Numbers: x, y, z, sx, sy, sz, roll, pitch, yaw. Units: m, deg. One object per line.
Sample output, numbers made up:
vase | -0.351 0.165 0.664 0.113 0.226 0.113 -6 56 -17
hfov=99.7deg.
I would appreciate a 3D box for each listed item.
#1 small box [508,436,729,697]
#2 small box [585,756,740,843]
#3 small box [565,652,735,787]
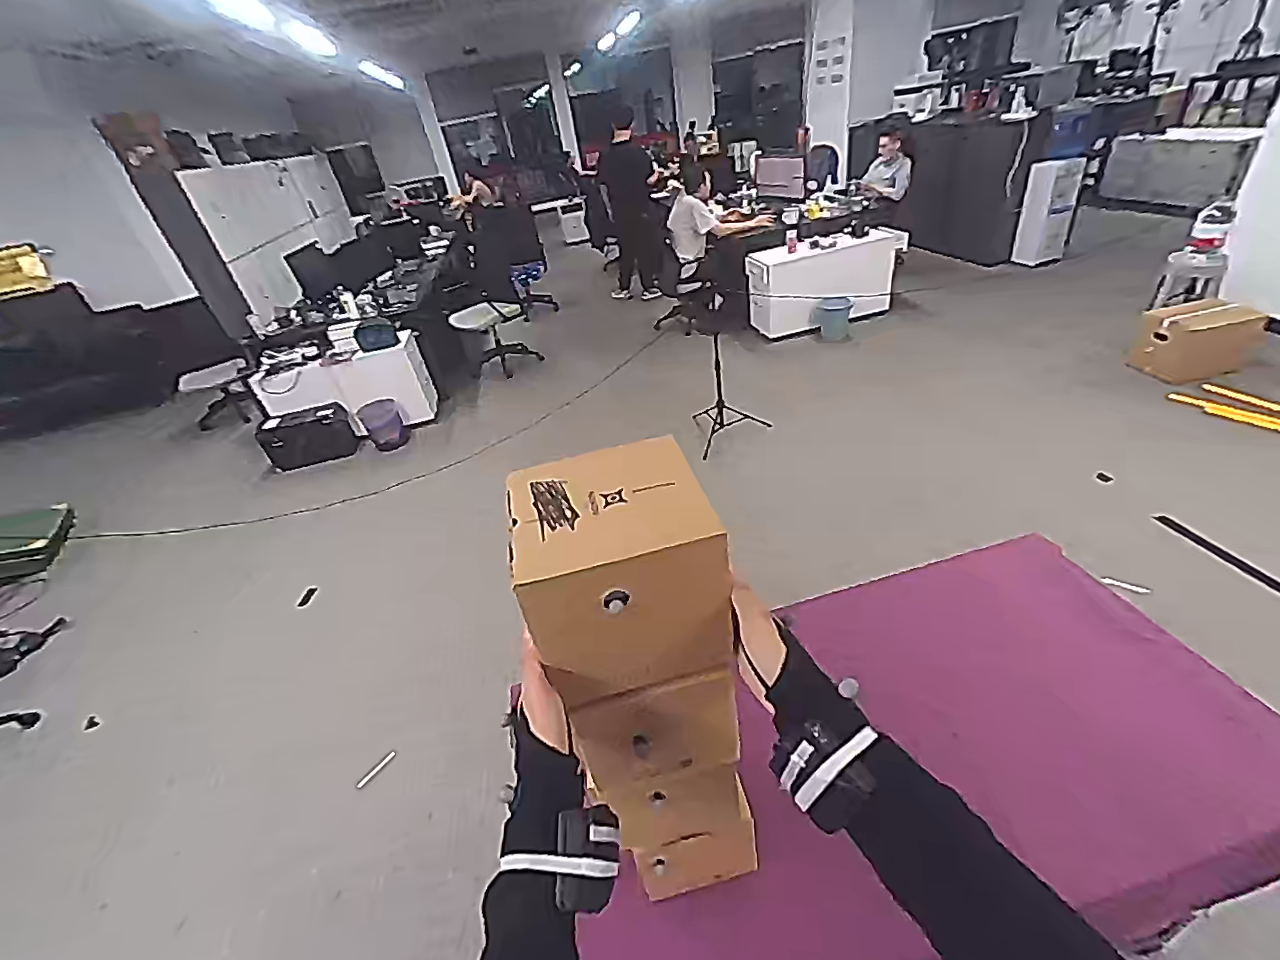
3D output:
small box | -0.021 0.083 0.534 0.179 0.176 0.168 -14 36 -7
small box | 0.029 0.360 0.731 0.179 0.176 0.168 -10 34 1
small box | 0.006 0.229 0.637 0.168 0.176 0.179 -14 33 -5
